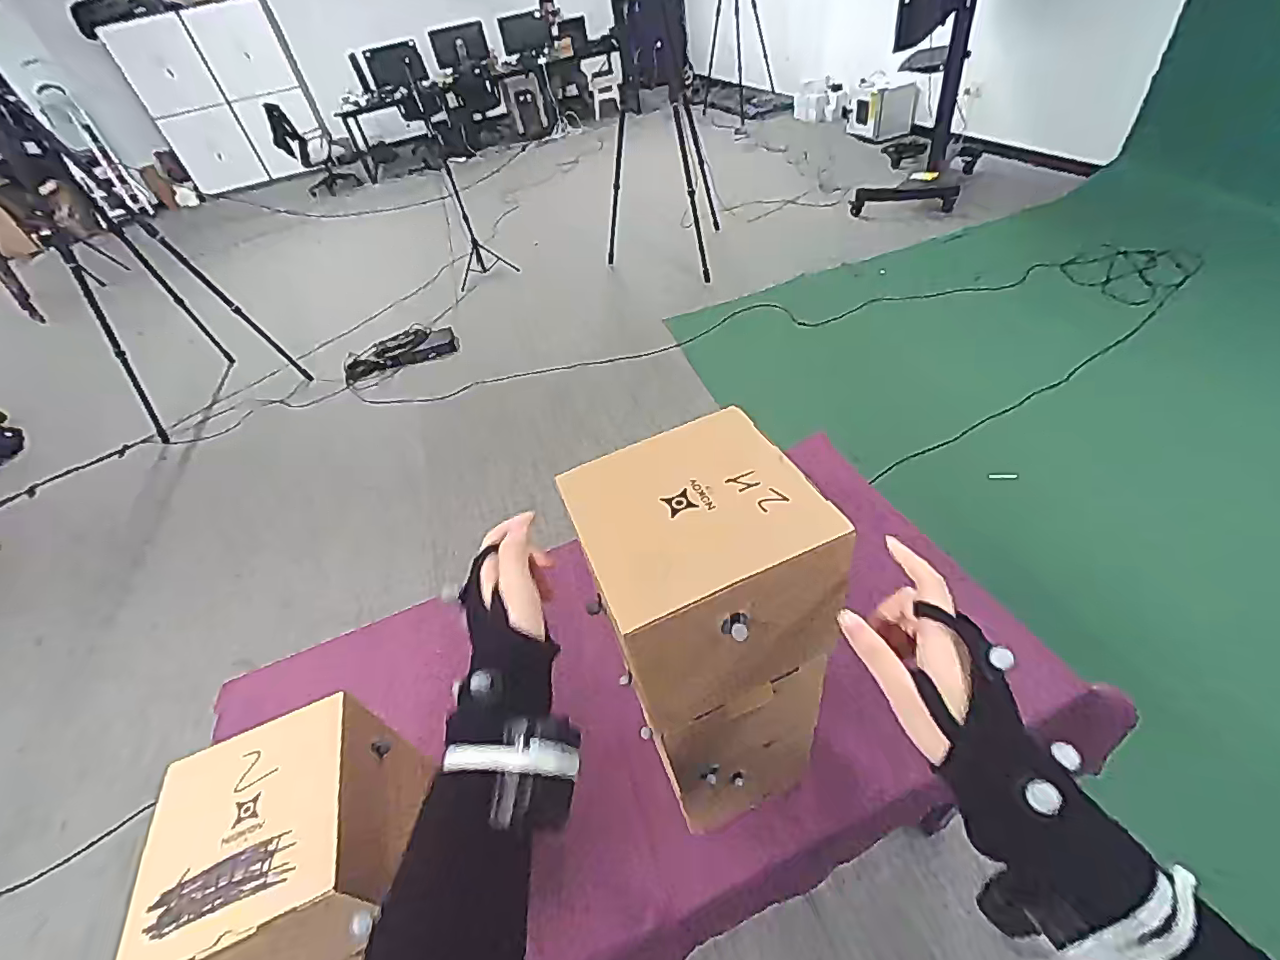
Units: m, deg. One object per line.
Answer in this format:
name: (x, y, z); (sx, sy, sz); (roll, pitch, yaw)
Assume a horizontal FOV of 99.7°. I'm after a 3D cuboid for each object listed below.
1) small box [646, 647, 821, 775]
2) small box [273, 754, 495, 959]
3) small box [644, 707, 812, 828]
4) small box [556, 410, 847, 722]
small box: (0.073, 0.188, 0.582); (0.168, 0.176, 0.179); (-22, 44, -9)
small box: (-0.285, 0.463, 0.629); (0.168, 0.176, 0.179); (-22, 45, -8)
small box: (0.099, 0.305, 0.695); (0.168, 0.176, 0.179); (-23, 44, -8)
small box: (0.049, 0.075, 0.464); (0.179, 0.176, 0.168); (-22, 46, -9)
